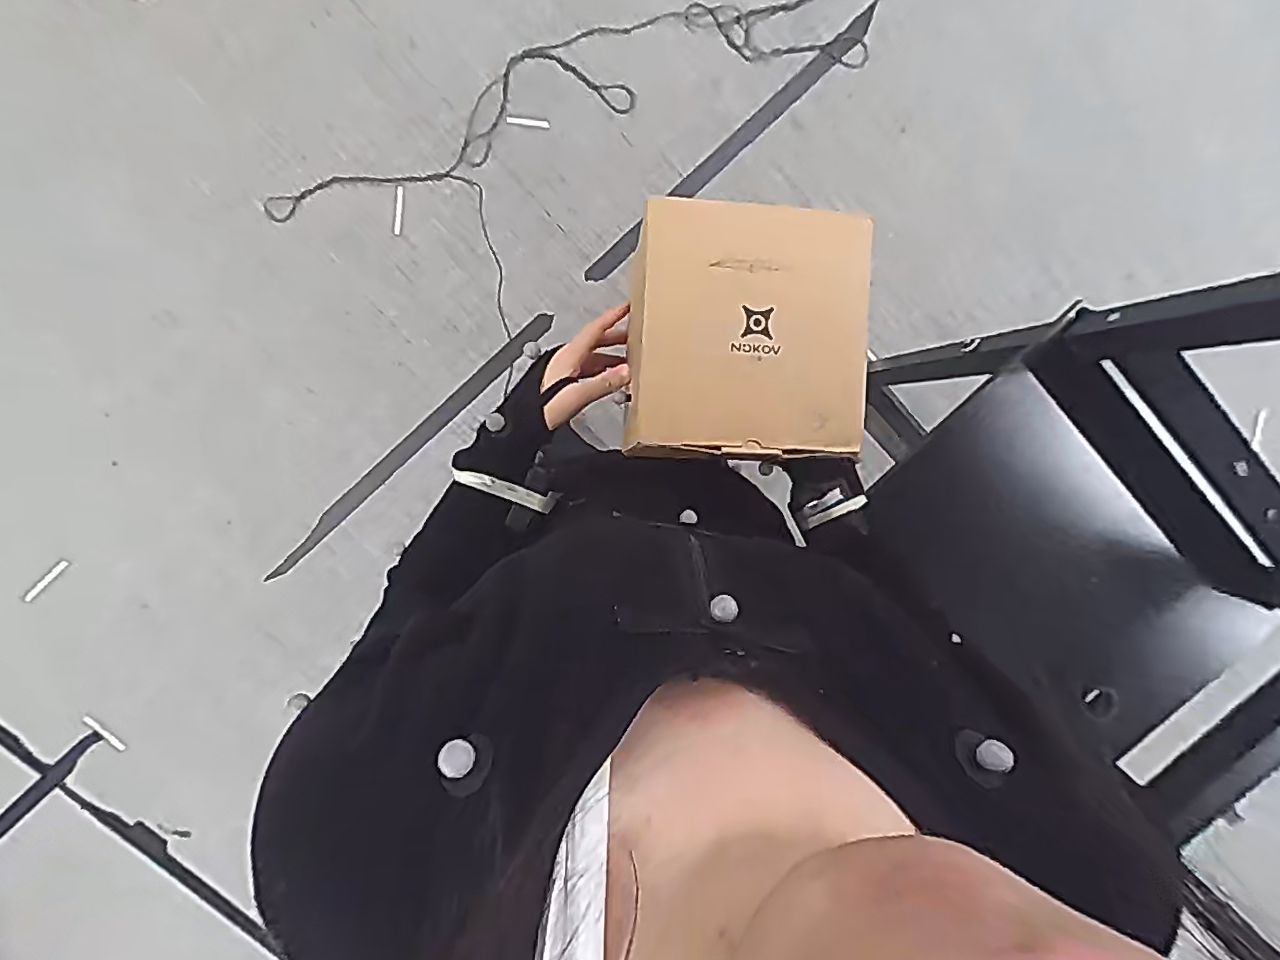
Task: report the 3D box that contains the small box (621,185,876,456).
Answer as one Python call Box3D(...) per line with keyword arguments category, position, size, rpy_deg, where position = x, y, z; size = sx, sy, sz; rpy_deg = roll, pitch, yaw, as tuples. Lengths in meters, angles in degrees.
Box3D(category="small box", position=(0.074, -0.112, 0.455), size=(0.168, 0.176, 0.179), rpy_deg=(2, 90, -7))
